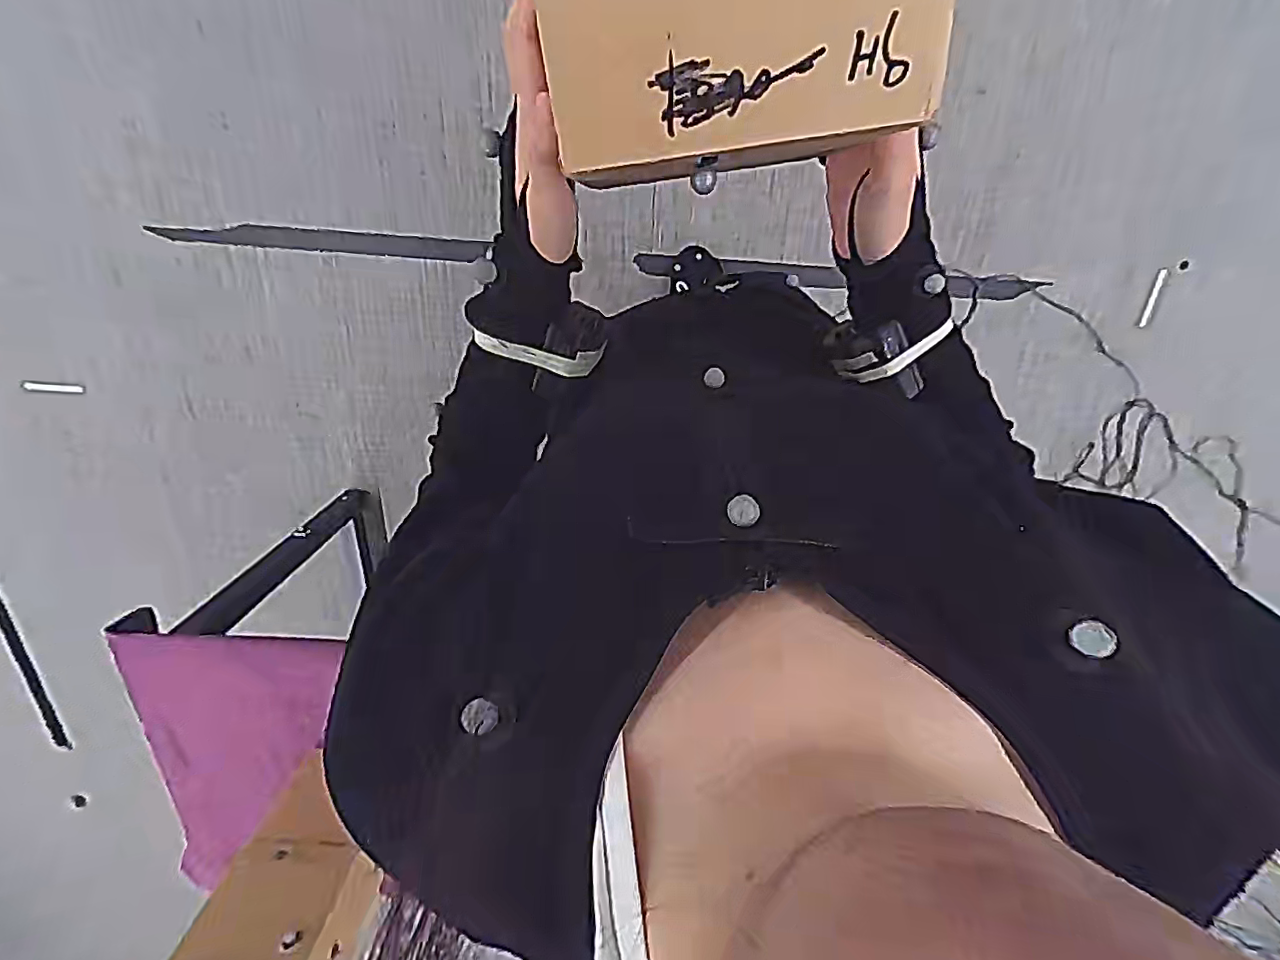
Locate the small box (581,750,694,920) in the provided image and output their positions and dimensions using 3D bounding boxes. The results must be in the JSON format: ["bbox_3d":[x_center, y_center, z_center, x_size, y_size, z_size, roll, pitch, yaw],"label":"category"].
[{"bbox_3d":[-0.005,0.597,0.919,0.168,0.176,0.179,5,111,-2],"label":"small box"}]

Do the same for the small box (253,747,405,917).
[{"bbox_3d":[-0.513,0.593,0.920,0.168,0.176,0.179,8,112,-4],"label":"small box"}]

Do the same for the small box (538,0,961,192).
[{"bbox_3d":[0.037,-0.253,0.266,0.168,0.176,0.179,-7,116,4],"label":"small box"}]
